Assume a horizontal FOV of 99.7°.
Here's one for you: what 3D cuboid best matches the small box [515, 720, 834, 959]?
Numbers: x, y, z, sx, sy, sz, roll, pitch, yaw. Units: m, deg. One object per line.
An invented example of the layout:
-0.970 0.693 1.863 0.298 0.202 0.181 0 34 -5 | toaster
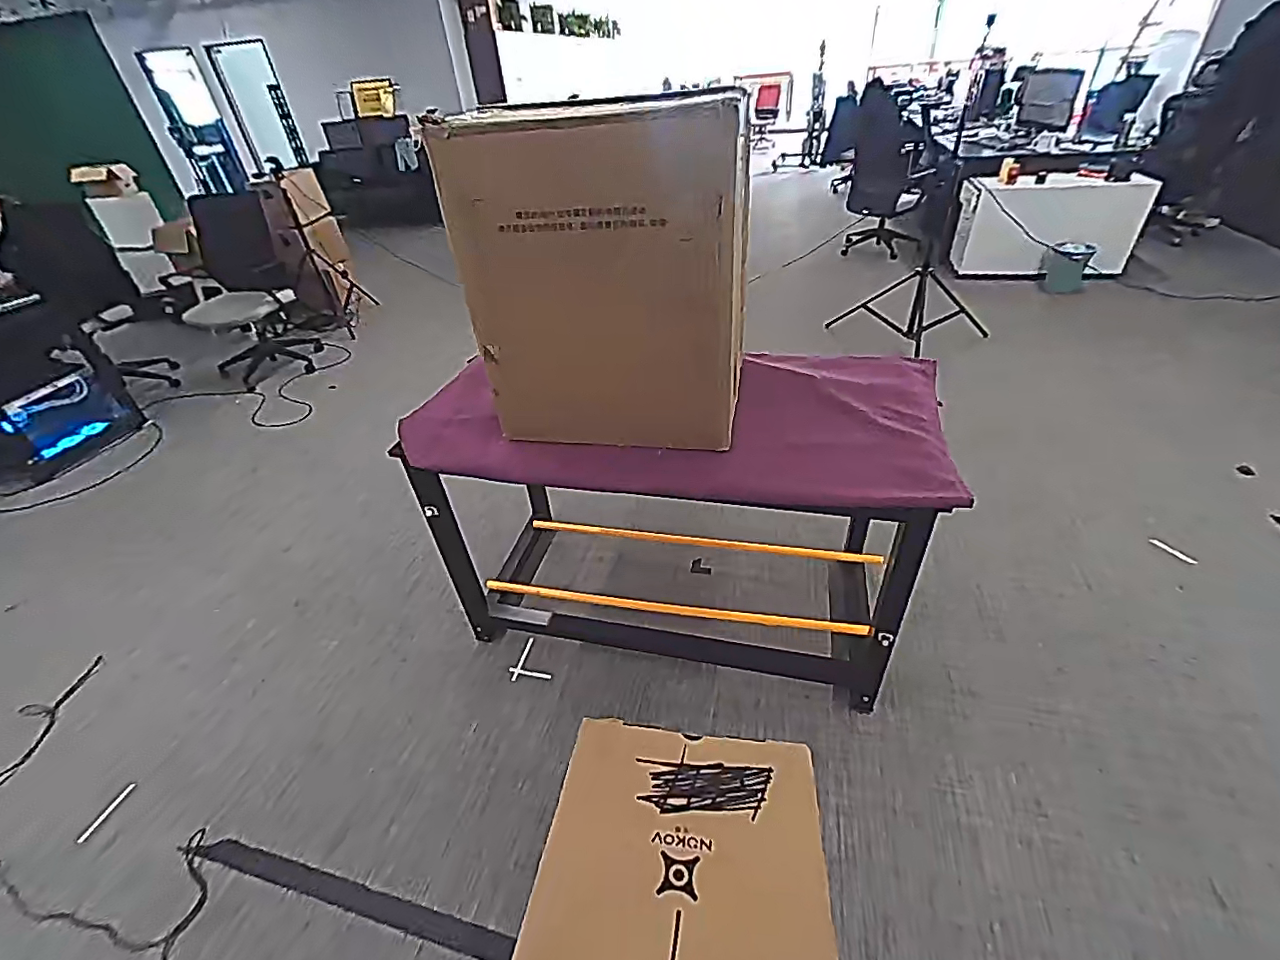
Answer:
0.027 0.297 0.358 0.168 0.176 0.179 3 28 9 | small box
